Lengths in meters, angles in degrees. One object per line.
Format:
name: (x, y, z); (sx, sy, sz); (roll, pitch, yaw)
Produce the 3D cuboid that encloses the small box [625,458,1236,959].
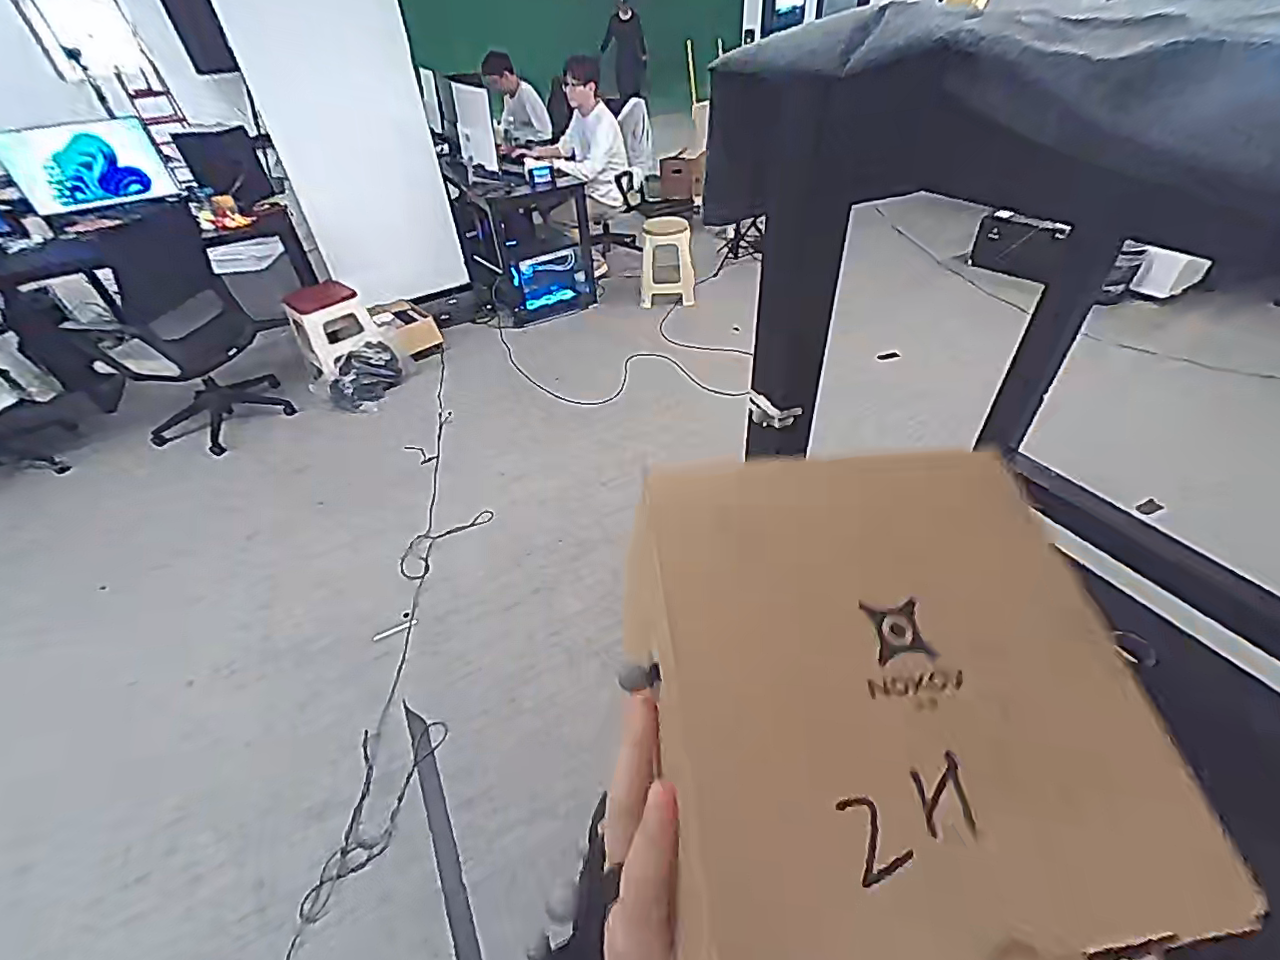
small box: (0.086, 0.108, 0.266); (0.168, 0.176, 0.179); (-2, 57, -8)
